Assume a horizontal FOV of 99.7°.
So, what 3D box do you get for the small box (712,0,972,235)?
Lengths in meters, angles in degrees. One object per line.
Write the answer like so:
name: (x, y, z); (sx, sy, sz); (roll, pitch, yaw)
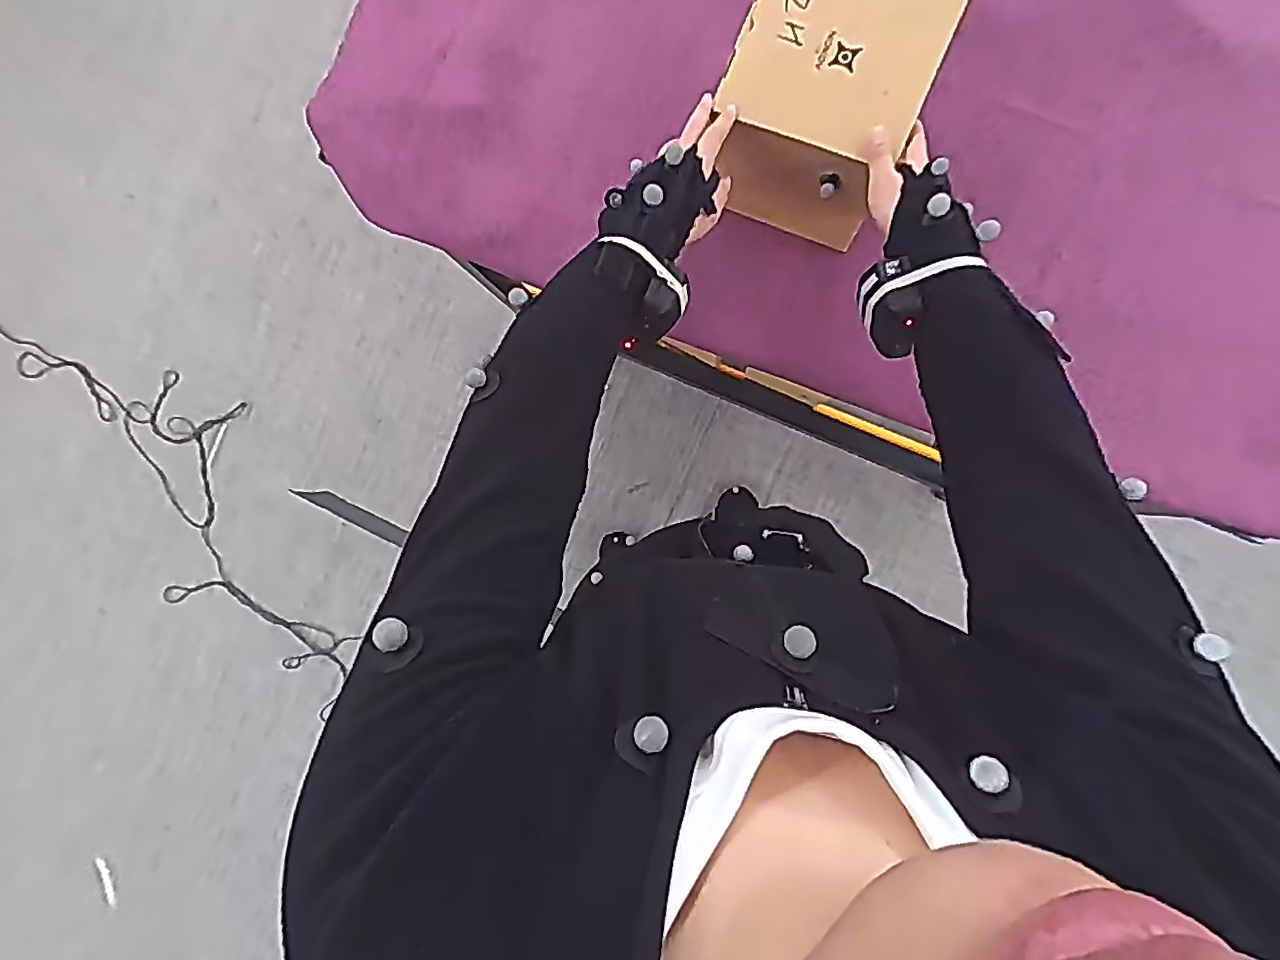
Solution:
small box: (0.184, -0.380, 0.550); (0.179, 0.176, 0.168); (24, 92, 7)
